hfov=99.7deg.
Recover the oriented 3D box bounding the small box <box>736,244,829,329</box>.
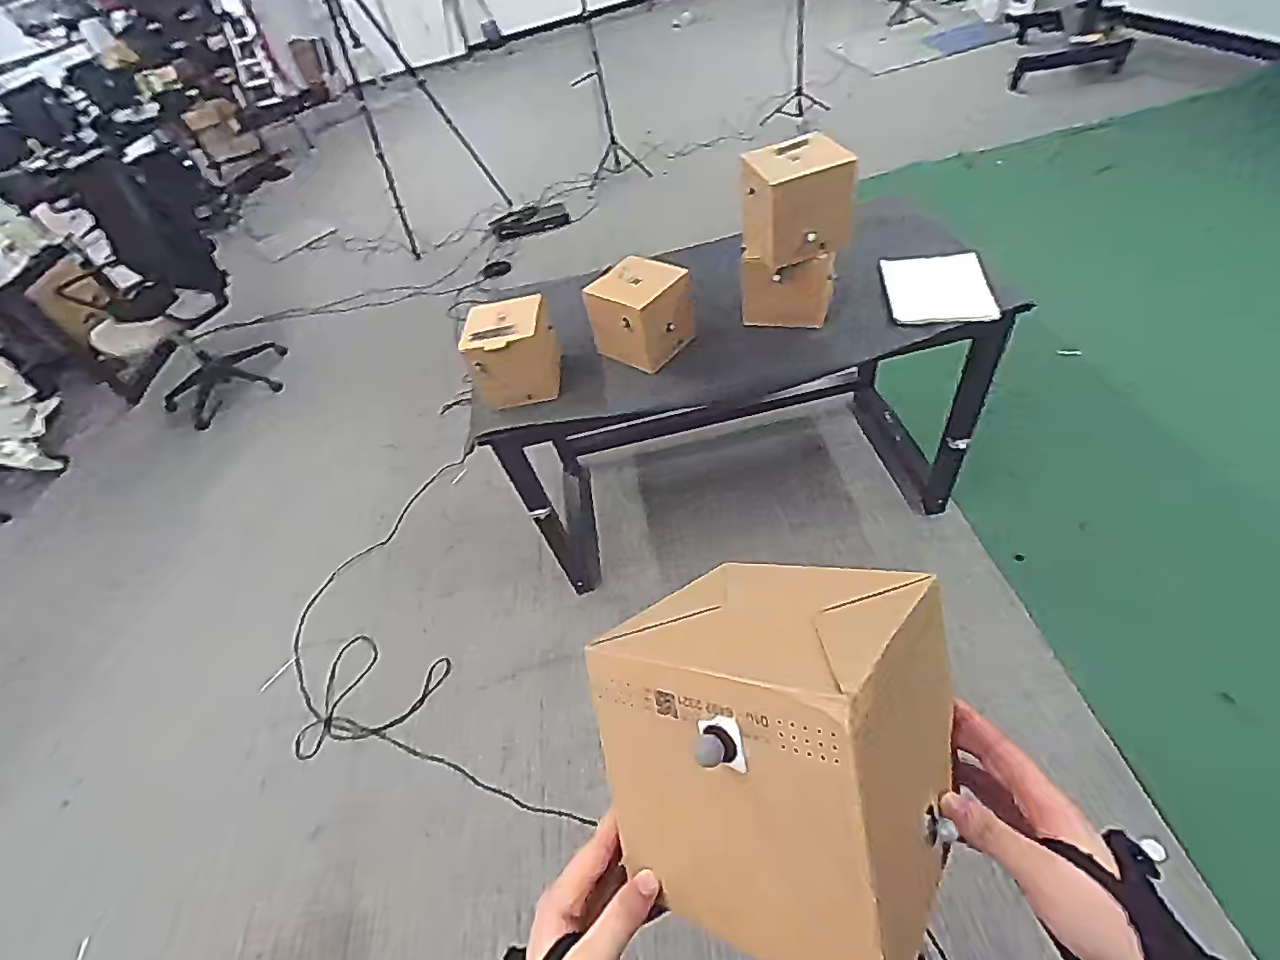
[{"bbox_3d":[0.326,-0.457,1.217,0.179,0.176,0.168,9,52,23],"label":"small box"}]

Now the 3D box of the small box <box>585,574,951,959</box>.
[{"bbox_3d":[0.089,0.163,0.354,0.168,0.176,0.179,-6,7,42],"label":"small box"}]

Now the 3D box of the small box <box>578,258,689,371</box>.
[{"bbox_3d":[-0.007,-0.370,1.224,0.179,0.176,0.168,28,61,33],"label":"small box"}]

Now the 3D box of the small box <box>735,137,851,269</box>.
[{"bbox_3d":[0.299,-0.553,1.085,0.168,0.176,0.179,-17,48,0],"label":"small box"}]
